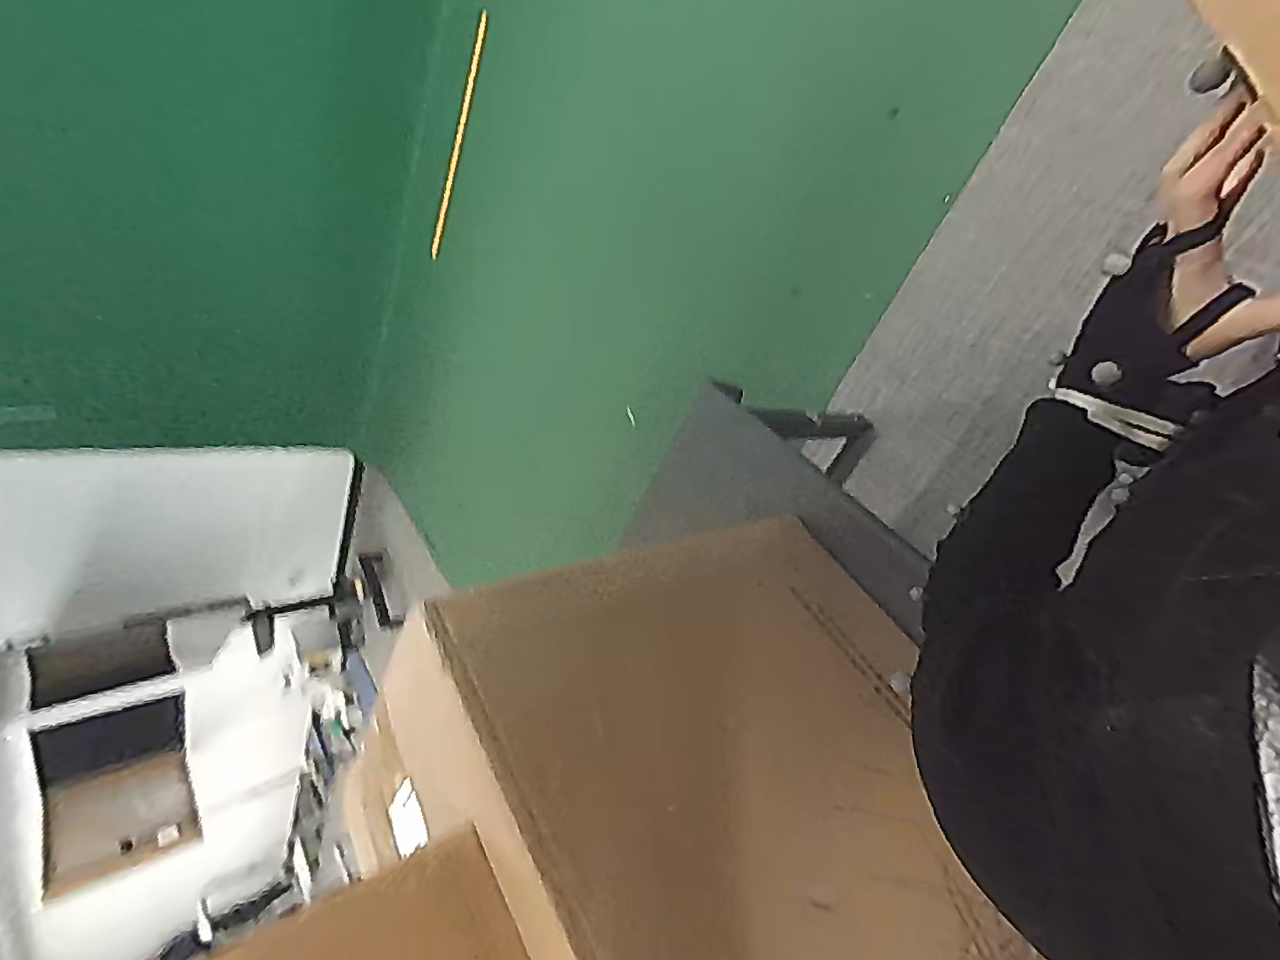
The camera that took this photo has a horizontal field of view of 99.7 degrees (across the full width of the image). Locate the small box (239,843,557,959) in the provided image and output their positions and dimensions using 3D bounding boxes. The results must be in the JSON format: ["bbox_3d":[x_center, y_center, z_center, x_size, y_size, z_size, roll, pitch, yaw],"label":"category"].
[{"bbox_3d":[-0.148,0.368,0.335,0.179,0.176,0.168,50,123,30],"label":"small box"}]
